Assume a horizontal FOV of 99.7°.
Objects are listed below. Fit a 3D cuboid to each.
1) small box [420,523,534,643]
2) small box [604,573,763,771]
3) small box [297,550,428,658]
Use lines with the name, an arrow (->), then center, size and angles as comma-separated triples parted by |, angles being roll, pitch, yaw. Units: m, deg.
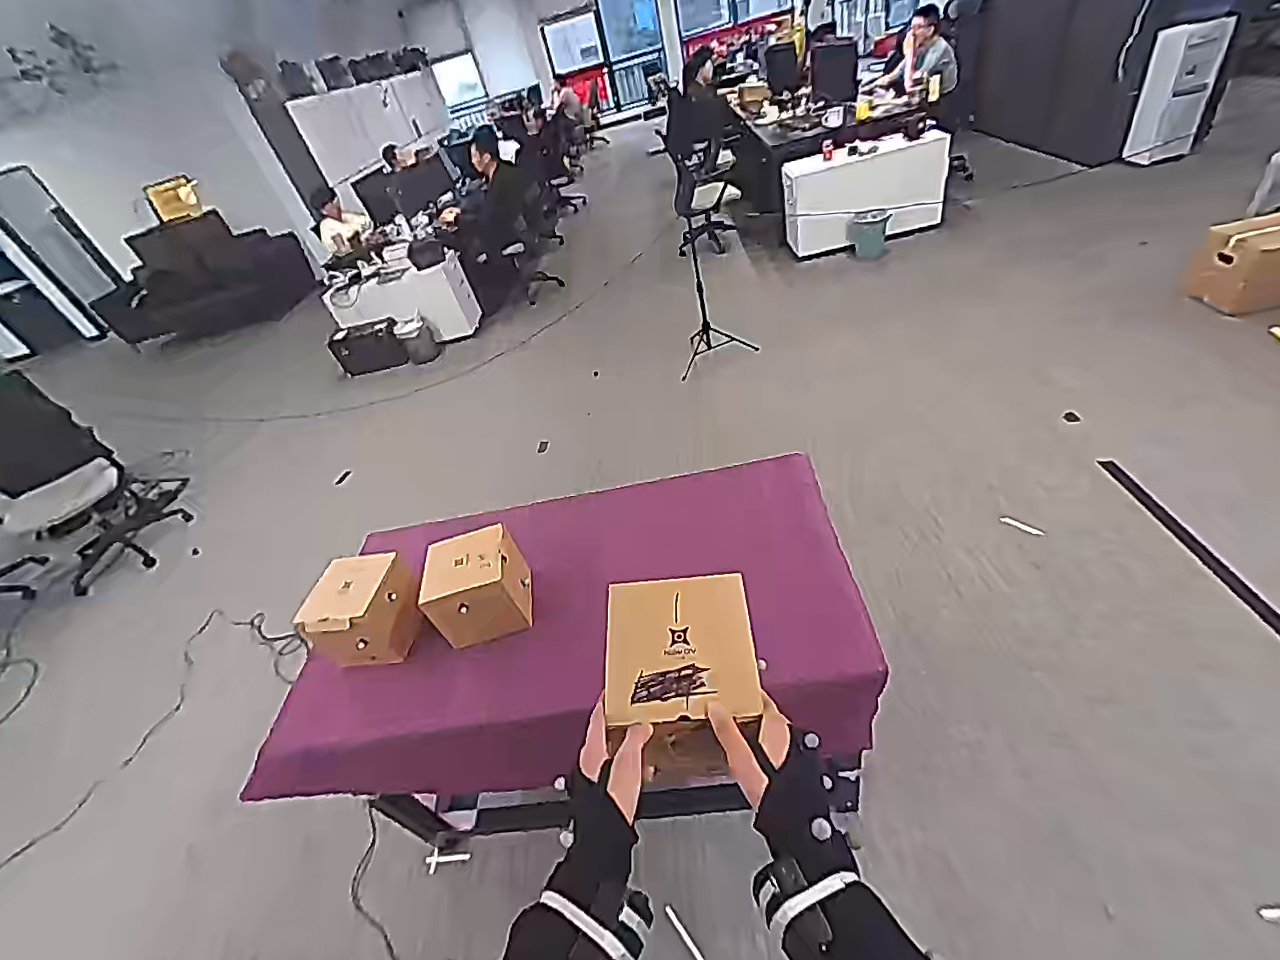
small box -> -0.343, 0.226, 1.169 | 0.179, 0.176, 0.168 | -16, 40, 1
small box -> 0.056, 0.238, 0.657 | 0.168, 0.176, 0.179 | -5, 44, 5
small box -> -0.597, 0.280, 1.197 | 0.168, 0.176, 0.179 | -6, 40, 11
